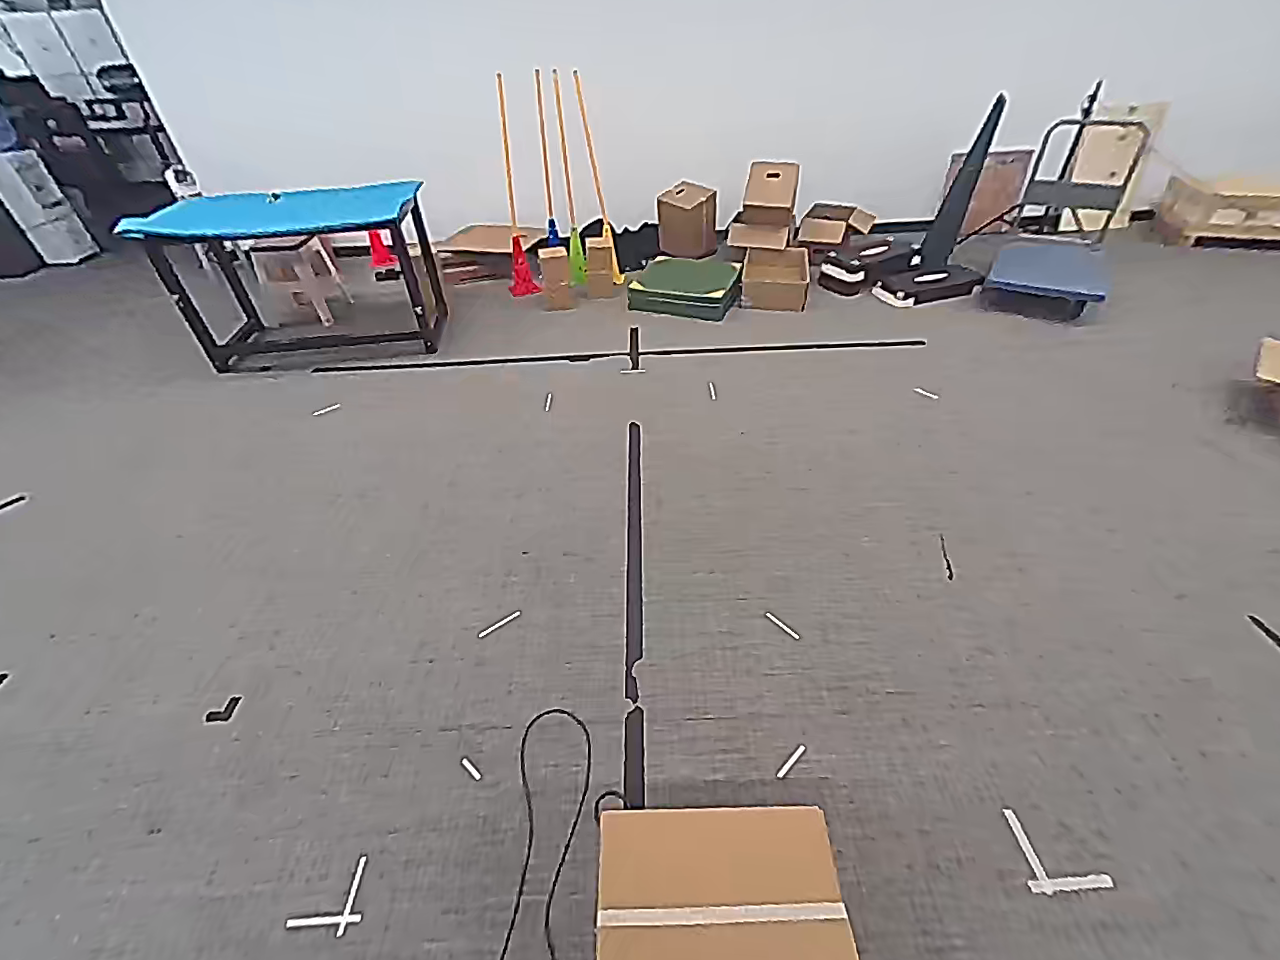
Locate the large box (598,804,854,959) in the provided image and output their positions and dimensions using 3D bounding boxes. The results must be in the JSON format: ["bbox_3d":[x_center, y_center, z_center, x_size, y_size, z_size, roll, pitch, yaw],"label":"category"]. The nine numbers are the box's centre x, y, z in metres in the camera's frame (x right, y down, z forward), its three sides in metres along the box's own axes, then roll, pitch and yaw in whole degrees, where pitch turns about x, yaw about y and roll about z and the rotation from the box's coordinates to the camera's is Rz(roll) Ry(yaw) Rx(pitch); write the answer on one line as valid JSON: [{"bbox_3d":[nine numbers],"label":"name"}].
[{"bbox_3d":[0.134,0.815,0.975,0.408,0.320,0.320,-1,40,-1],"label":"large box"}]
